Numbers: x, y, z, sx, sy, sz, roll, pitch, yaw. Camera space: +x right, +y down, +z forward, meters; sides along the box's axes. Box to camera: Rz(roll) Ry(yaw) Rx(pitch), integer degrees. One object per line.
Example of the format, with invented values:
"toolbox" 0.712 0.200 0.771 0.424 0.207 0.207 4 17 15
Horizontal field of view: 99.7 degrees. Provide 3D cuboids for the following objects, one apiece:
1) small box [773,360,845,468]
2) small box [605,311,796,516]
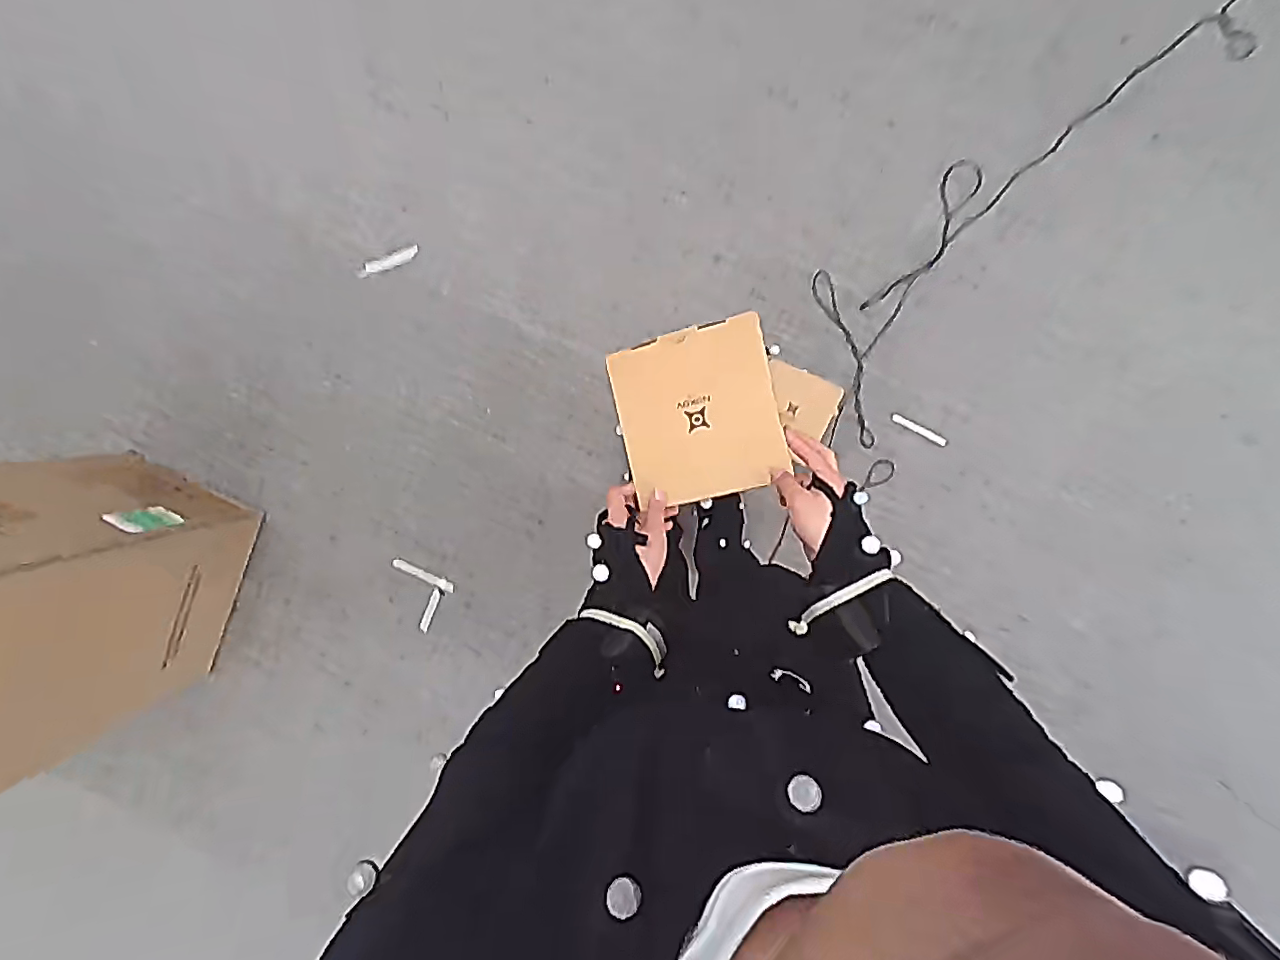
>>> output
"small box" 0.315 -0.145 1.187 0.168 0.176 0.179 24 99 2
"small box" 0.079 -0.069 0.620 0.168 0.176 0.179 -14 89 15
